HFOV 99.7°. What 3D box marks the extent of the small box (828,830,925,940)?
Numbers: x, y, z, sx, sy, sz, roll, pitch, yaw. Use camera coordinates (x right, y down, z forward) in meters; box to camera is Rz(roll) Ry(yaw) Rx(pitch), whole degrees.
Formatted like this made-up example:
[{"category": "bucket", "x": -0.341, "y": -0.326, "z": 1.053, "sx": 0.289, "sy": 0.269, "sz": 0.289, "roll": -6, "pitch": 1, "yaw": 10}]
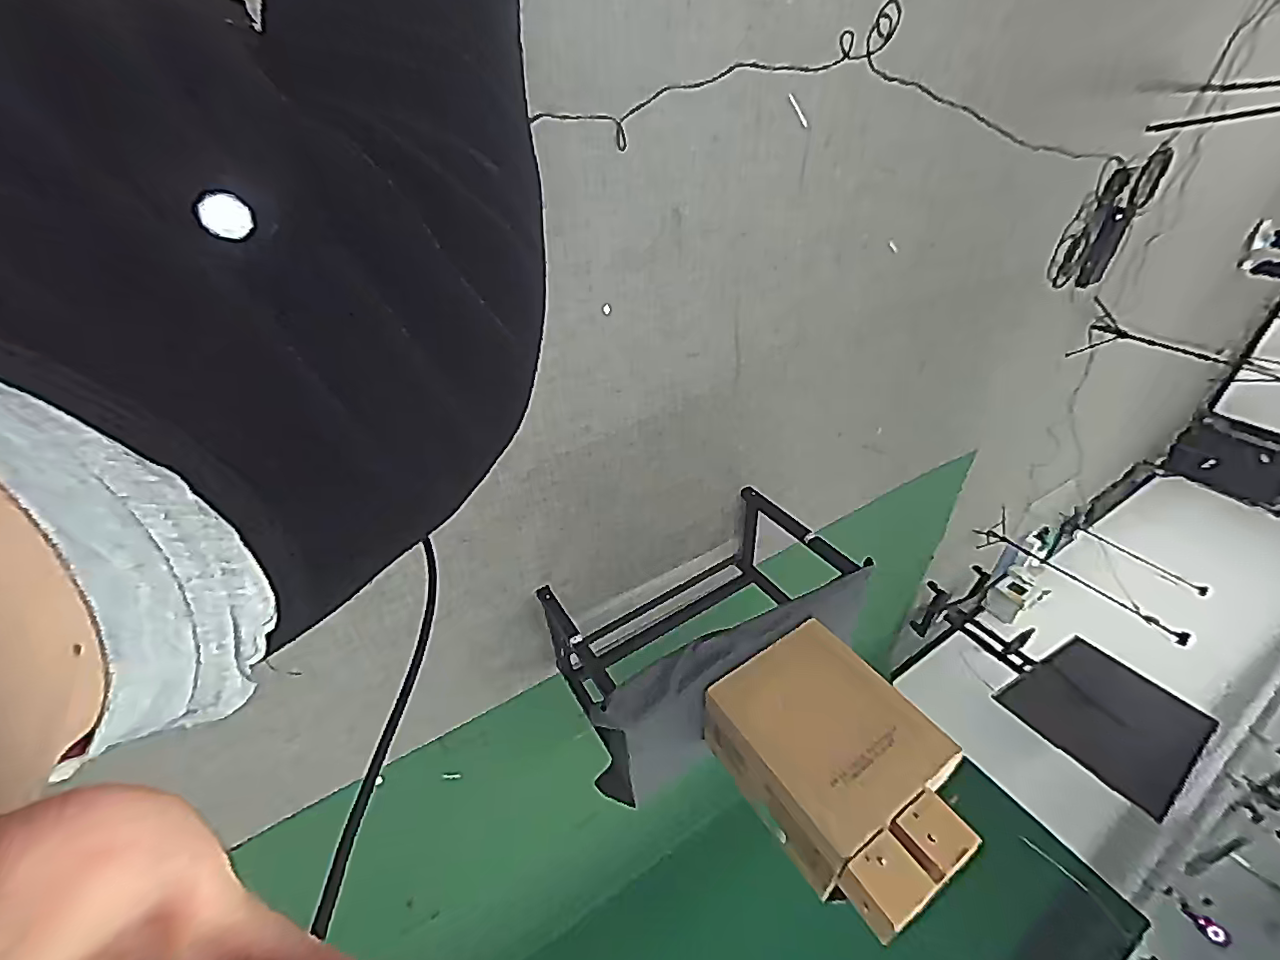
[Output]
[{"category": "small box", "x": 0.653, "y": 1.127, "z": 1.513, "sx": 0.168, "sy": 0.176, "sz": 0.179, "roll": -24, "pitch": 132, "yaw": -21}]
